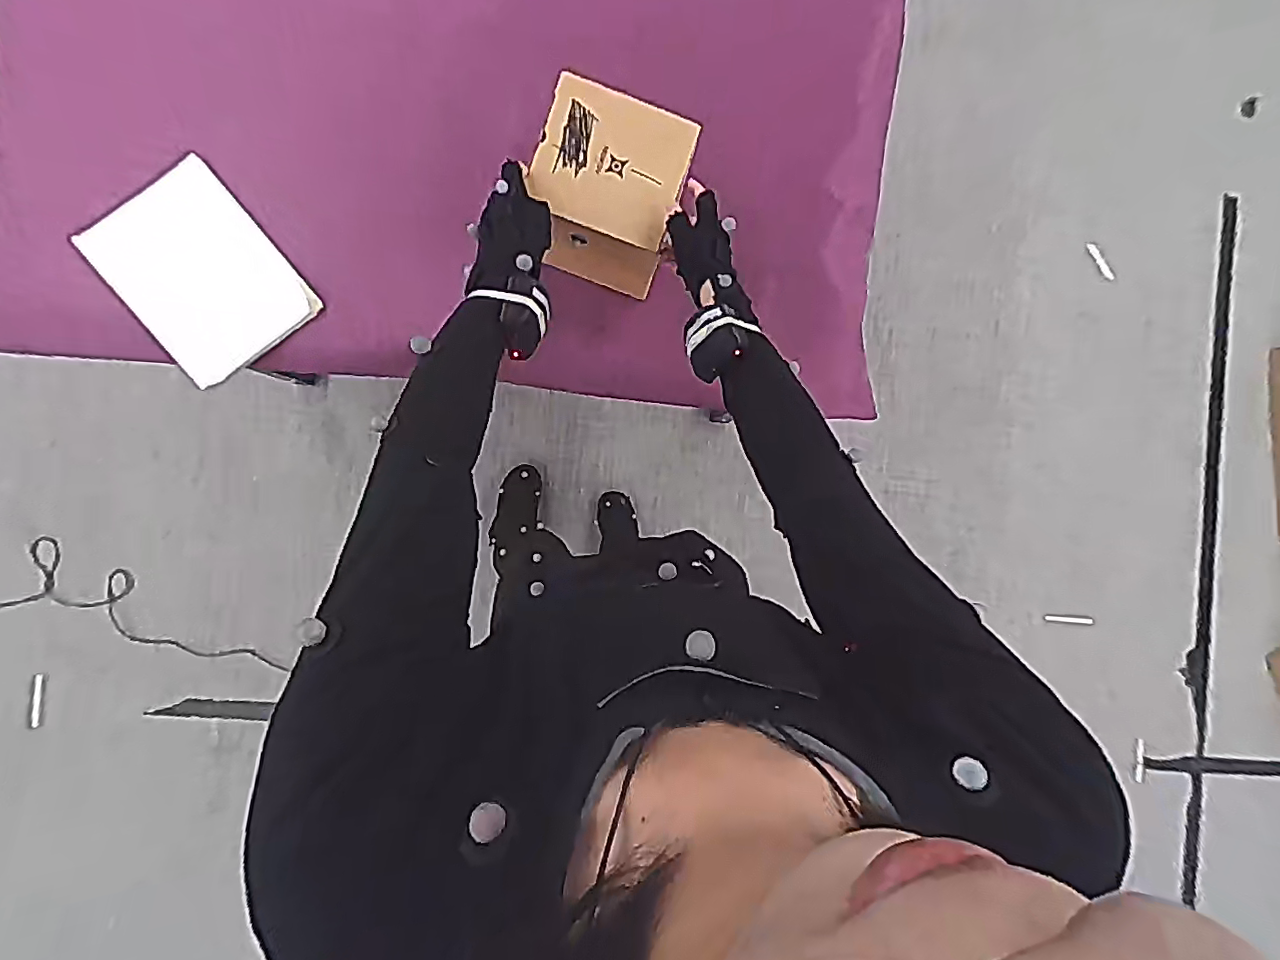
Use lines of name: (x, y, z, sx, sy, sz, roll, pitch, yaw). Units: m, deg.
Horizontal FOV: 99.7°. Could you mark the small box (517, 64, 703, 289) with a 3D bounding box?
small box: (-0.040, -0.375, 0.704, 0.179, 0.176, 0.168, 19, 88, -4)
